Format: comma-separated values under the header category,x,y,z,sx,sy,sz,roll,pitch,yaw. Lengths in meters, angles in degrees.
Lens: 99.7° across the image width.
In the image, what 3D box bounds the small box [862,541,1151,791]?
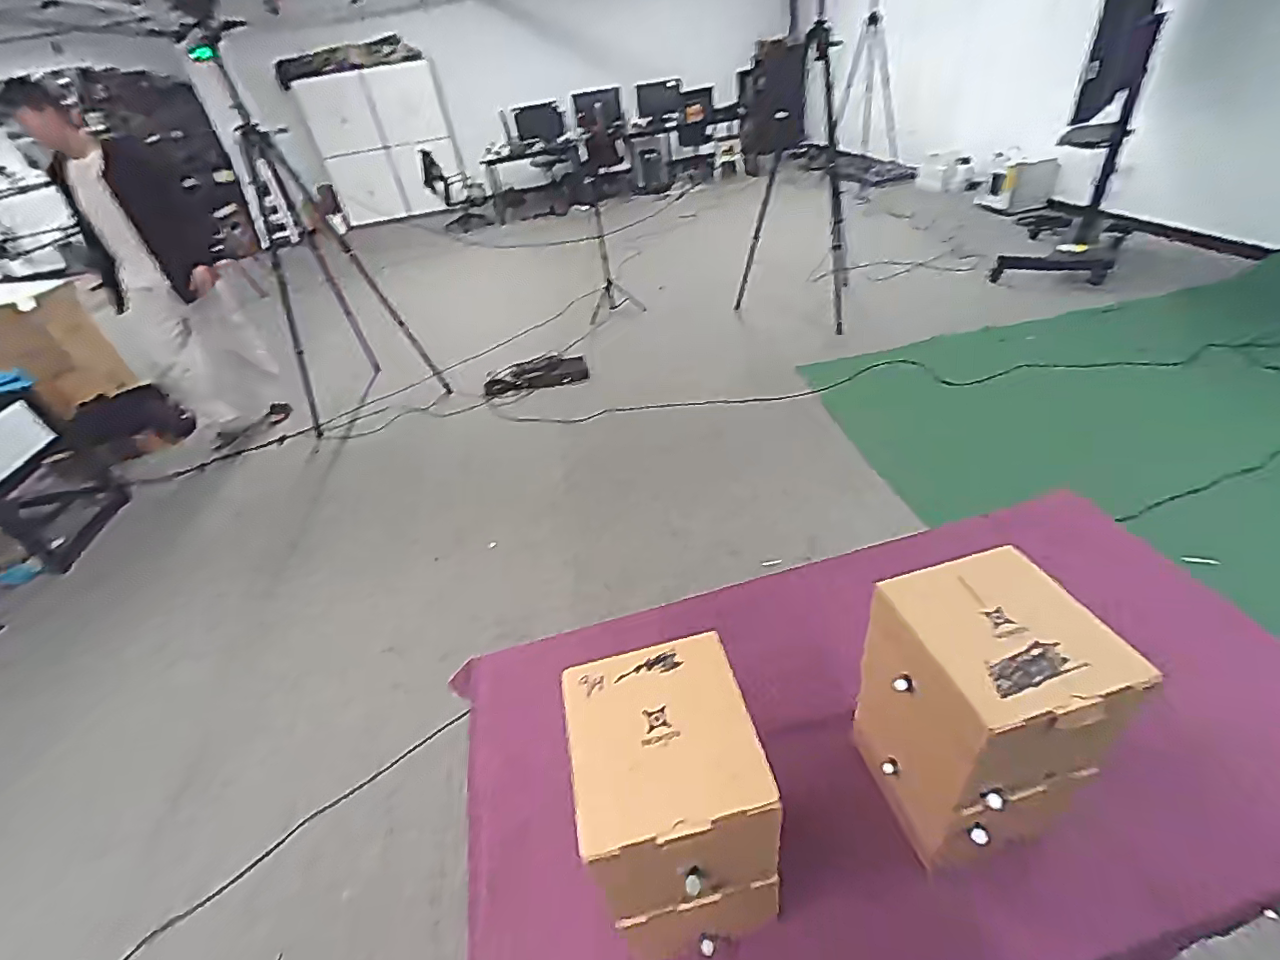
category,x,y,z,sx,sy,sz,roll,pitch,yaw
small box,0.360,0.199,0.575,0.168,0.176,0.179,-15,36,-6

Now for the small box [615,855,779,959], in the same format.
category,x,y,z,sx,sy,sz,roll,pitch,yaw
small box,0.052,0.420,0.636,0.168,0.176,0.179,-14,38,-4

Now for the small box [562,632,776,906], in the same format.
category,x,y,z,sx,sy,sz,roll,pitch,yaw
small box,0.027,0.289,0.539,0.168,0.176,0.179,-14,38,-5
